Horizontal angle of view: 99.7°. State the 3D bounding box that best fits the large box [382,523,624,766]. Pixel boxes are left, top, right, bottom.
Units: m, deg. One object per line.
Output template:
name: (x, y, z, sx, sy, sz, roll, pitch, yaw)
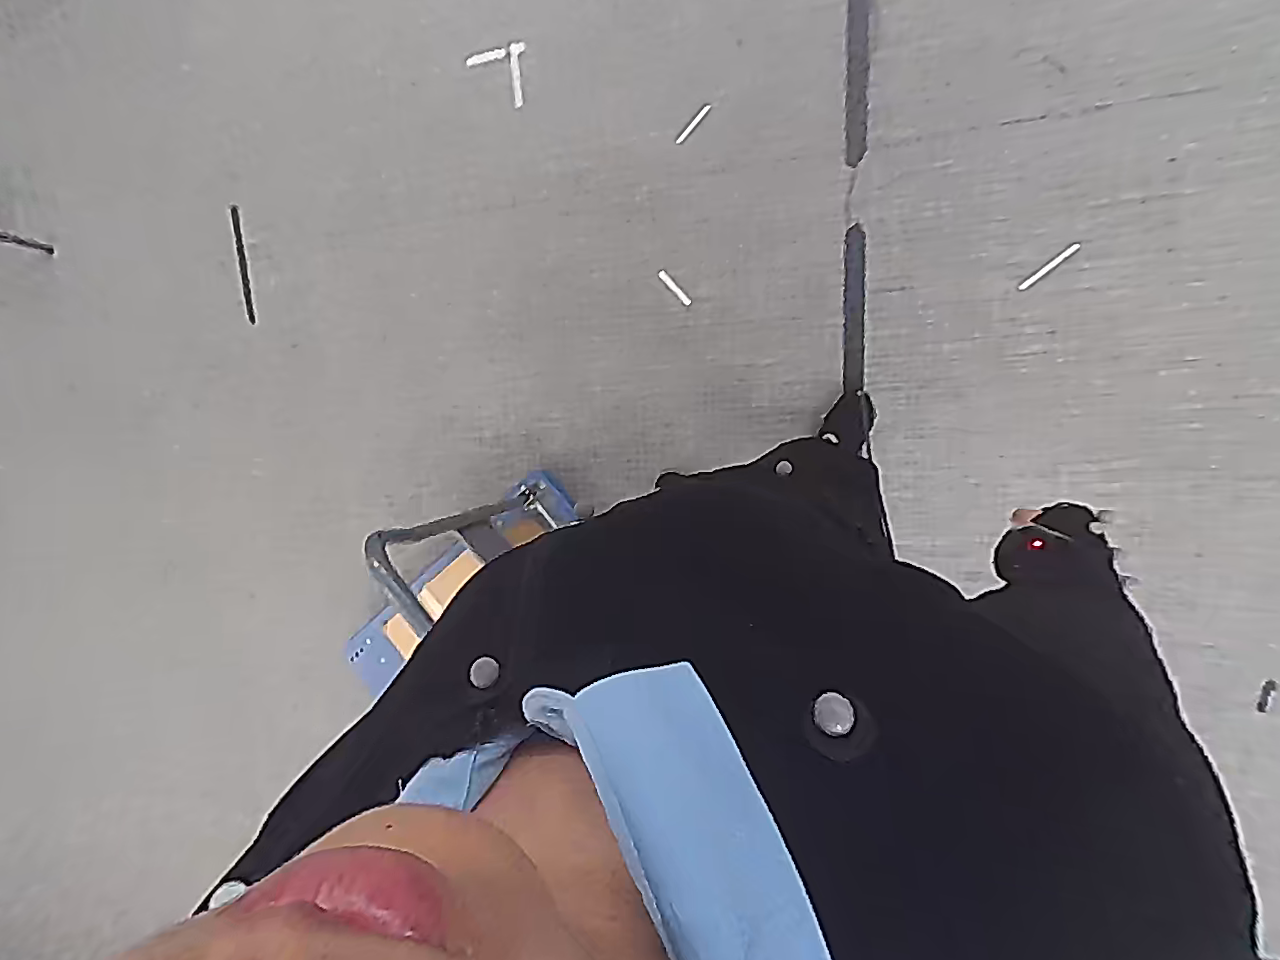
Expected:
large box: (-0.307, 0.372, 1.304, 0.320, 0.320, 0.408, -40, 87, 15)
